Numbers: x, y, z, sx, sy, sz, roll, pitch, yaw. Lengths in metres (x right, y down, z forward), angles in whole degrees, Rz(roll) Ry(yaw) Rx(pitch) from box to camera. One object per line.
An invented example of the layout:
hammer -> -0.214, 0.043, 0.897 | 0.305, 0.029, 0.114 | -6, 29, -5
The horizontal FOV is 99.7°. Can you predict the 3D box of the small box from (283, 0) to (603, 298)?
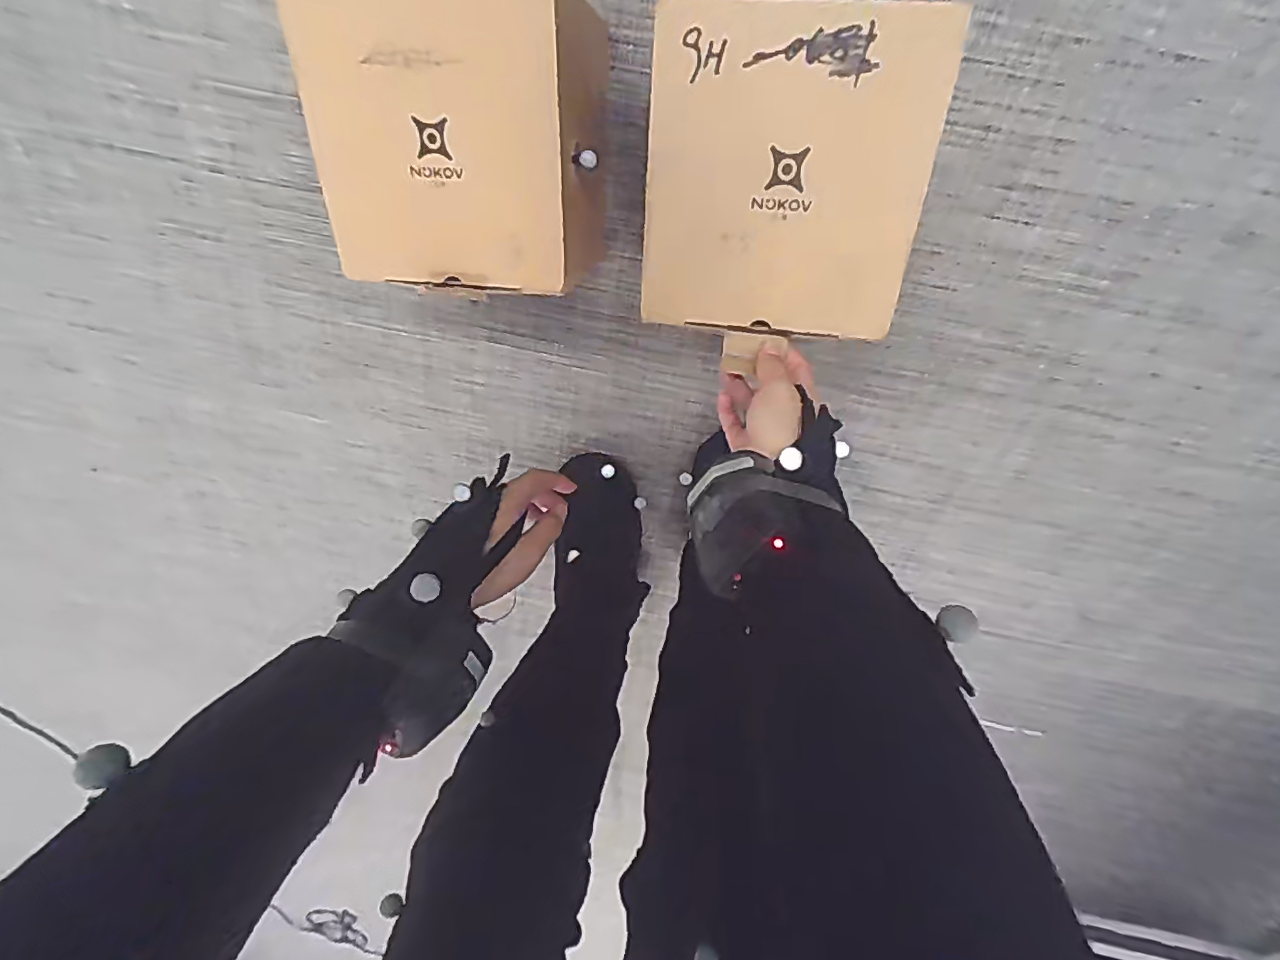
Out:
small box -> -0.122, -0.253, 0.419 | 0.168, 0.176, 0.179 | 4, 121, 5
